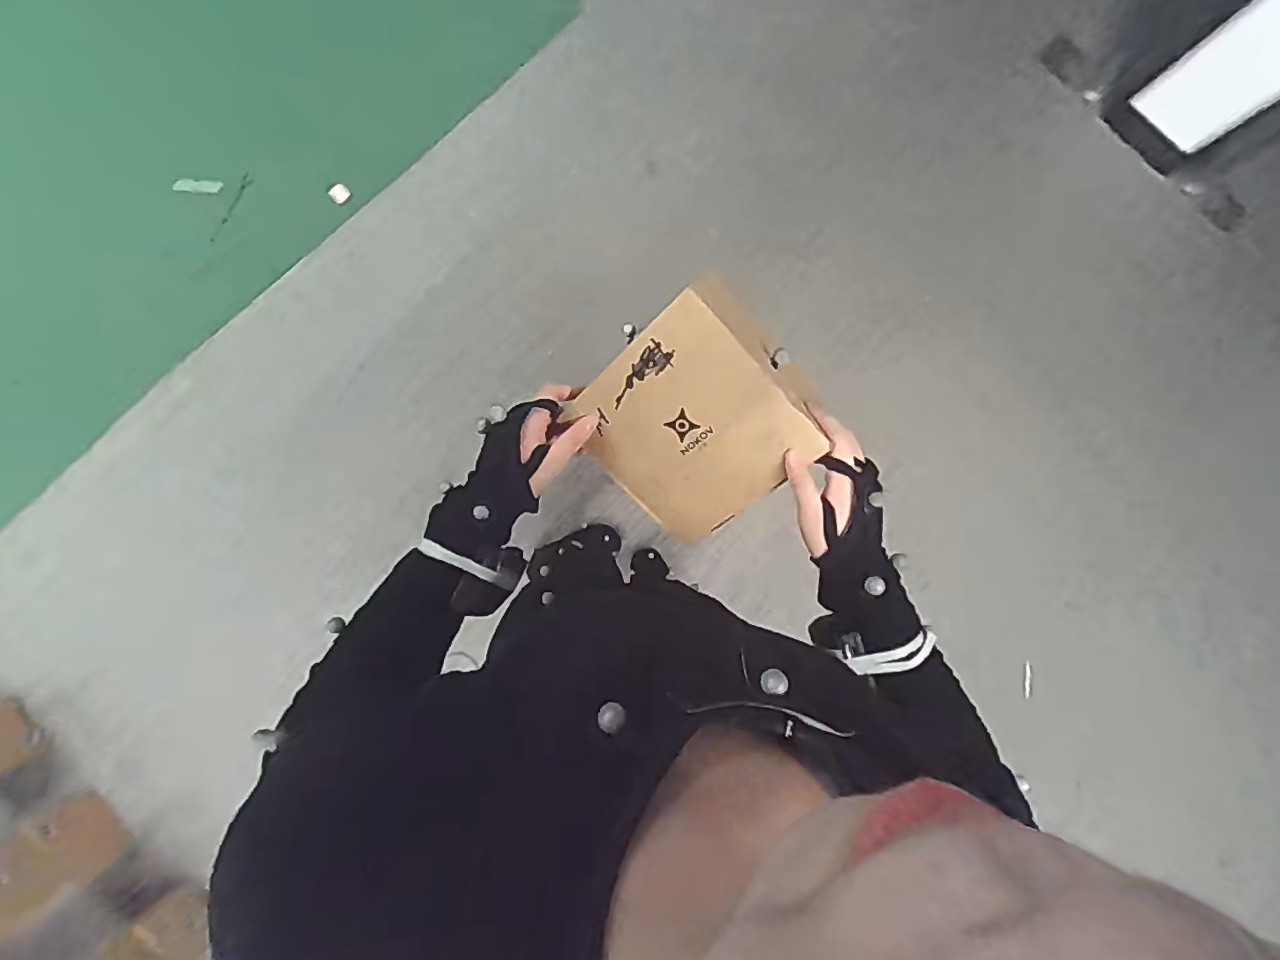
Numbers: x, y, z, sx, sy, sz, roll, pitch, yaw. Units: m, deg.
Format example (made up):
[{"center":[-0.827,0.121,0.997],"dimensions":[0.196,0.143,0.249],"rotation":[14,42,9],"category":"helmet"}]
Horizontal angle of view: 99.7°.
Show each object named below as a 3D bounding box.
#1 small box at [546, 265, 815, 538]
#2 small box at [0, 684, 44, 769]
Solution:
[{"center":[0.045,-0.084,0.529],"dimensions":[0.179,0.176,0.168],"rotation":[43,118,-13],"category":"small box"},{"center":[-1.595,0.617,1.281],"dimensions":[0.179,0.176,0.168],"rotation":[-37,88,-5],"category":"small box"}]
